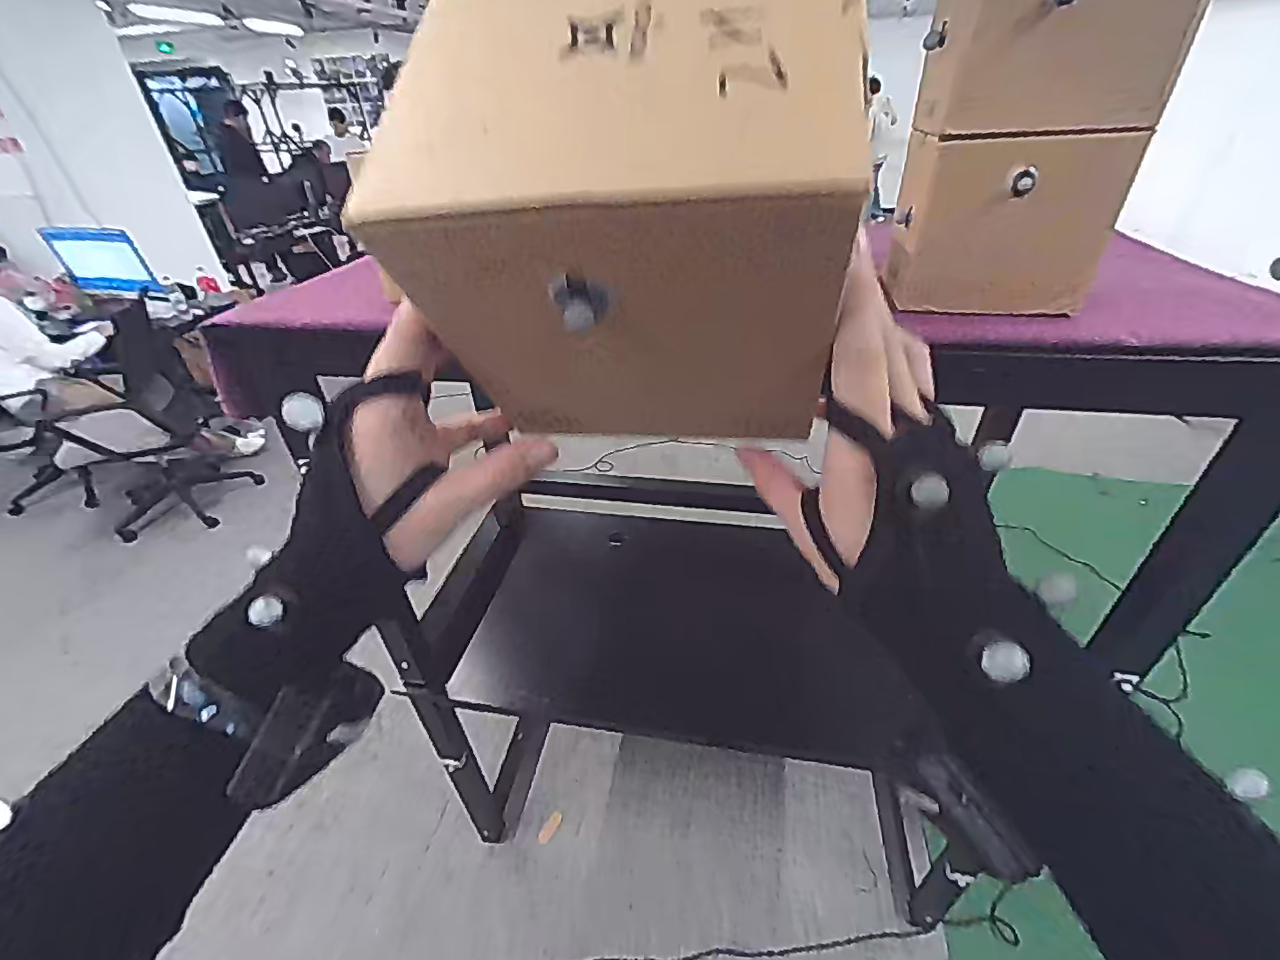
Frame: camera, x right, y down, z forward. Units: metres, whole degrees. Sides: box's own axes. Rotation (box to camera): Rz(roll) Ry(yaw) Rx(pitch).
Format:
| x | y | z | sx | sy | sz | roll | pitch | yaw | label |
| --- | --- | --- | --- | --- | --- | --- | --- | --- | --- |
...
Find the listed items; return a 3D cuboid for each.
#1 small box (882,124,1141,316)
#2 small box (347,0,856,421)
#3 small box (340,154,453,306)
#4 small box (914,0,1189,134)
| x | y | z | sx | sy | sz | roll | pitch | yaw | label |
| --- | --- | --- | --- | --- | --- | --- | --- | --- | --- |
| 0.375 | -0.287 | 0.593 | 0.179 | 0.176 | 0.168 | 6 | 36 | 13 | small box |
| 0.003 | -0.139 | 0.274 | 0.179 | 0.176 | 0.168 | 2 | 69 | 12 | small box |
| -0.232 | -0.329 | 0.694 | 0.179 | 0.176 | 0.168 | 2 | 35 | 8 | small box |
| 0.368 | -0.421 | 0.500 | 0.179 | 0.176 | 0.168 | 5 | 36 | 13 | small box |
